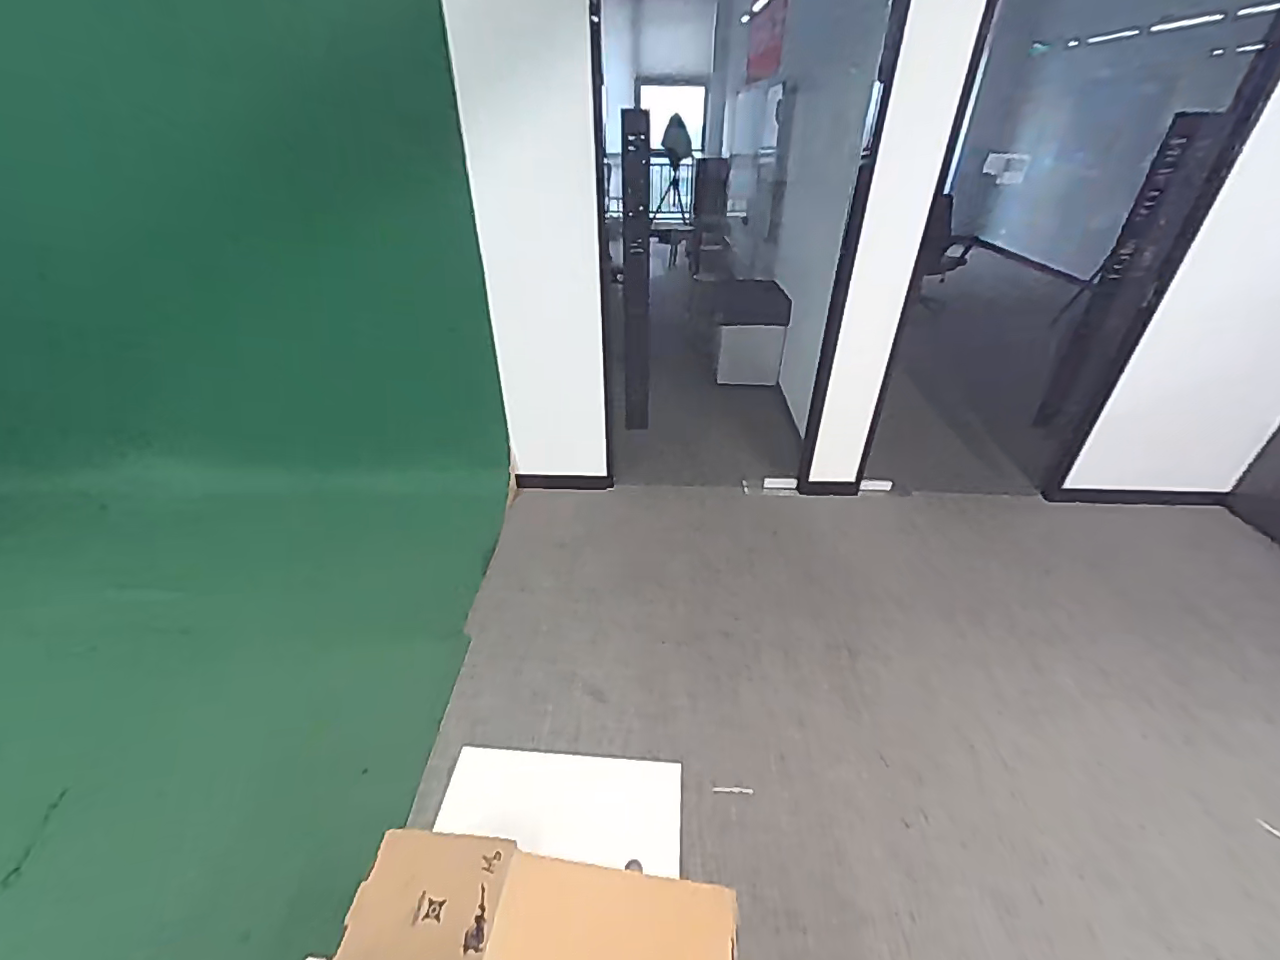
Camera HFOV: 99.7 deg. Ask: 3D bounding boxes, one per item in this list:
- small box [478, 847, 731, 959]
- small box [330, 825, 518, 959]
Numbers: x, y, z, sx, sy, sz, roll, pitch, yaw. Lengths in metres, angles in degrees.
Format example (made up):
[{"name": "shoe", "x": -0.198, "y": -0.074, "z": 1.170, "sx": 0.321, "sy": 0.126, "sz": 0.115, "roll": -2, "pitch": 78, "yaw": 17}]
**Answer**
[{"name": "small box", "x": -0.029, "y": 0.409, "z": 0.405, "sx": 0.179, "sy": 0.176, "sz": 0.168, "roll": 6, "pitch": 40, "yaw": 5}, {"name": "small box", "x": -0.256, "y": 0.574, "z": 0.692, "sx": 0.179, "sy": 0.176, "sz": 0.168, "roll": 3, "pitch": 34, "yaw": 3}]
